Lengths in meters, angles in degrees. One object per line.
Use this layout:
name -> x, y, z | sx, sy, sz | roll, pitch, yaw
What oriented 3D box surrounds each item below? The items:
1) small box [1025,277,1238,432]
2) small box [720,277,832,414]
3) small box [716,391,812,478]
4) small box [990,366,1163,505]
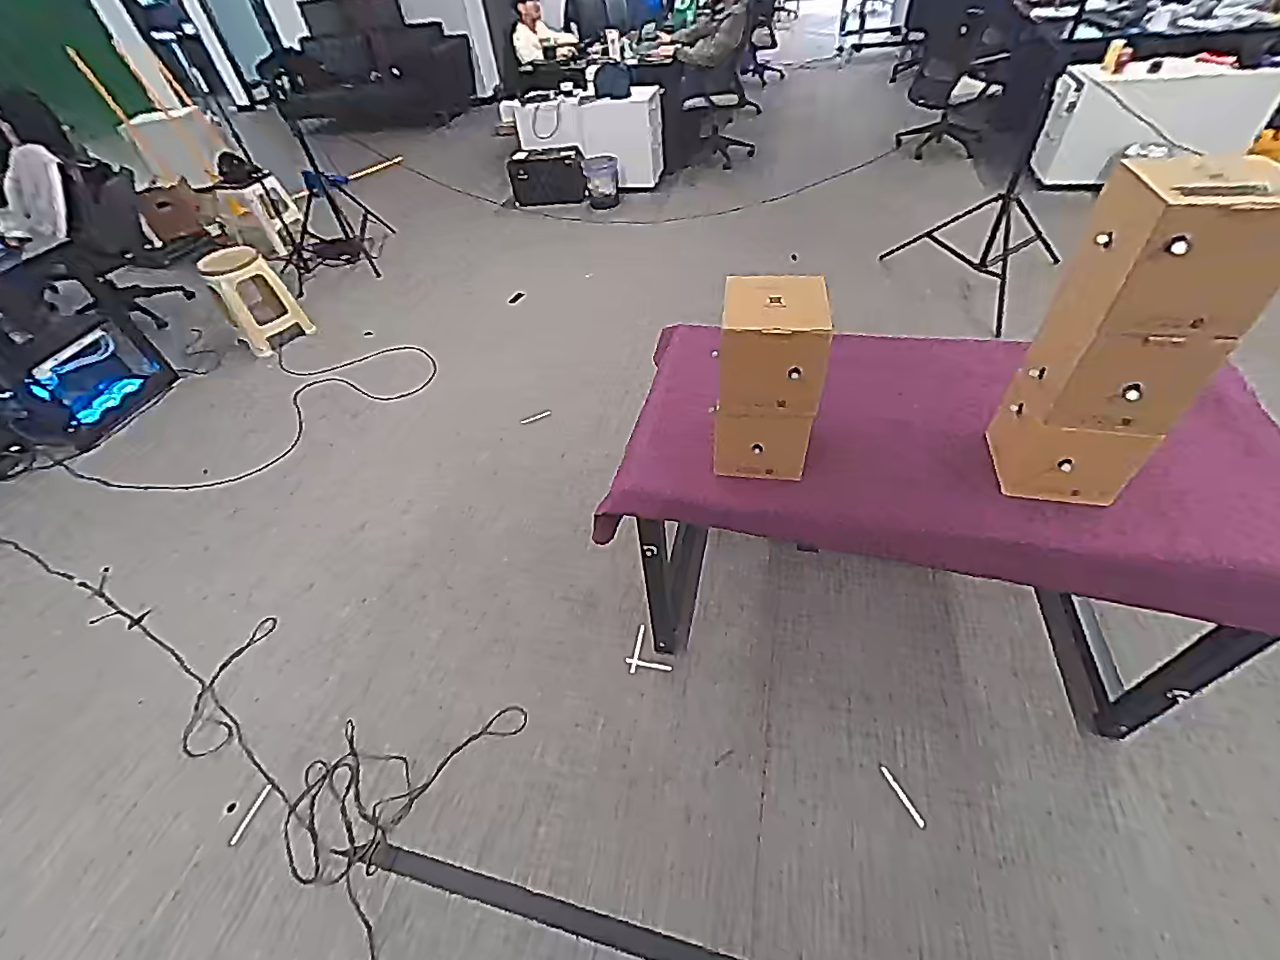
small box -> 0.732, -0.193, 0.834 | 0.168, 0.176, 0.179 | 7, 48, 14
small box -> 0.224, -0.228, 0.924 | 0.168, 0.176, 0.179 | 3, 46, 8
small box -> 0.237, -0.121, 1.046 | 0.168, 0.176, 0.179 | 5, 46, 10
small box -> 0.745, -0.077, 0.949 | 0.168, 0.176, 0.179 | 7, 47, 13
